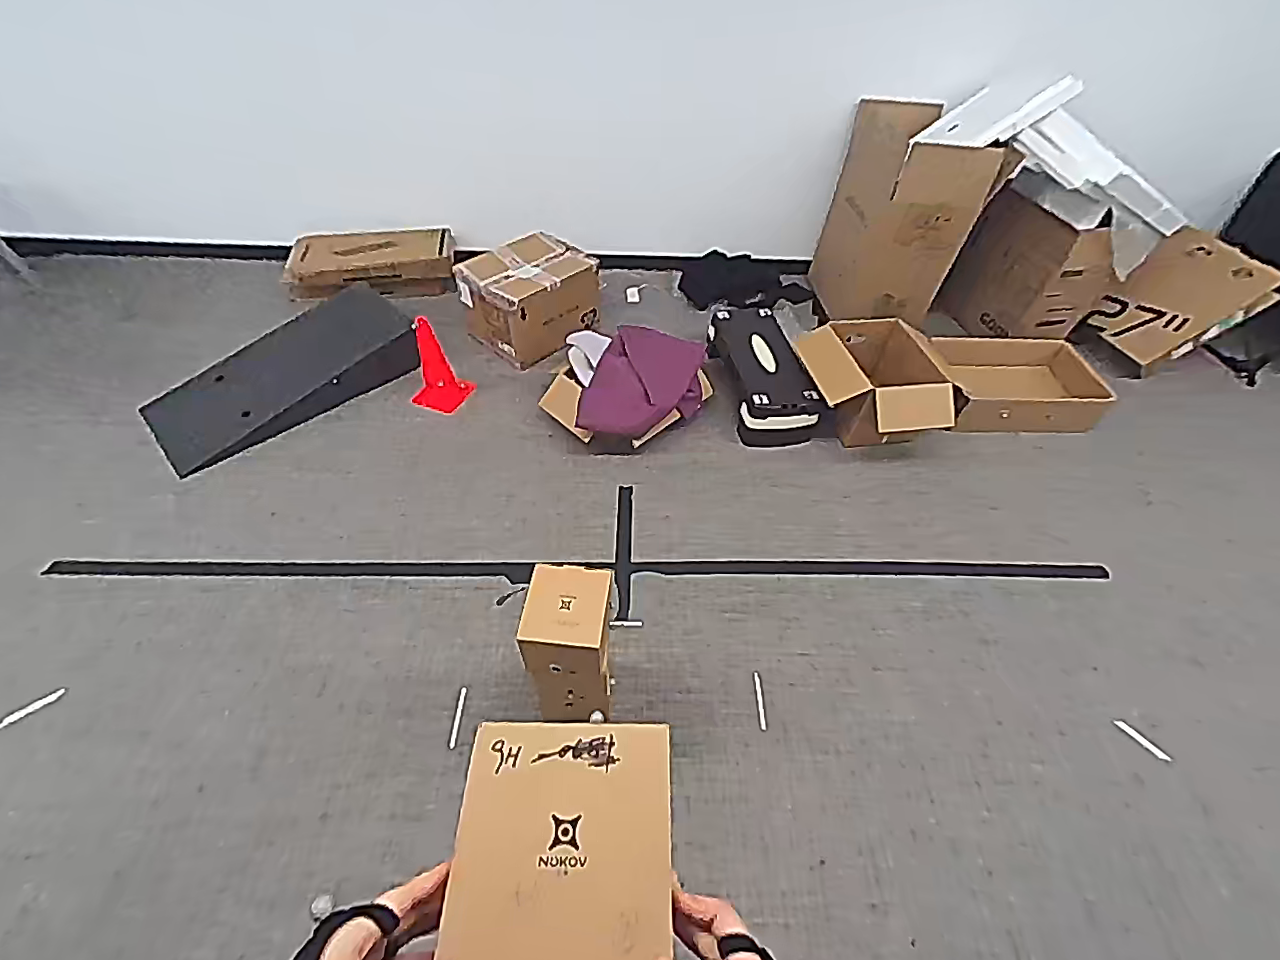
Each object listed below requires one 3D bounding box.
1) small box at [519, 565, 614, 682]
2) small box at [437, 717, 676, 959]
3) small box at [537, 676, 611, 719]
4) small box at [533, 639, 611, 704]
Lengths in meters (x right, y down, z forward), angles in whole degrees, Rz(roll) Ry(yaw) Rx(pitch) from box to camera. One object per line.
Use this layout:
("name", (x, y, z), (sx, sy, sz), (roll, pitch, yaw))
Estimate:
("small box", (-0.148, 0.305, 1.145), (0.168, 0.176, 0.179), (5, 50, 2))
("small box", (-0.052, 0.317, 0.467), (0.168, 0.176, 0.179), (0, 53, 2))
("small box", (-0.165, 0.516, 1.395), (0.179, 0.176, 0.168), (-1, 49, -5))
("small box", (-0.153, 0.407, 1.272), (0.168, 0.176, 0.179), (1, 49, -2))
